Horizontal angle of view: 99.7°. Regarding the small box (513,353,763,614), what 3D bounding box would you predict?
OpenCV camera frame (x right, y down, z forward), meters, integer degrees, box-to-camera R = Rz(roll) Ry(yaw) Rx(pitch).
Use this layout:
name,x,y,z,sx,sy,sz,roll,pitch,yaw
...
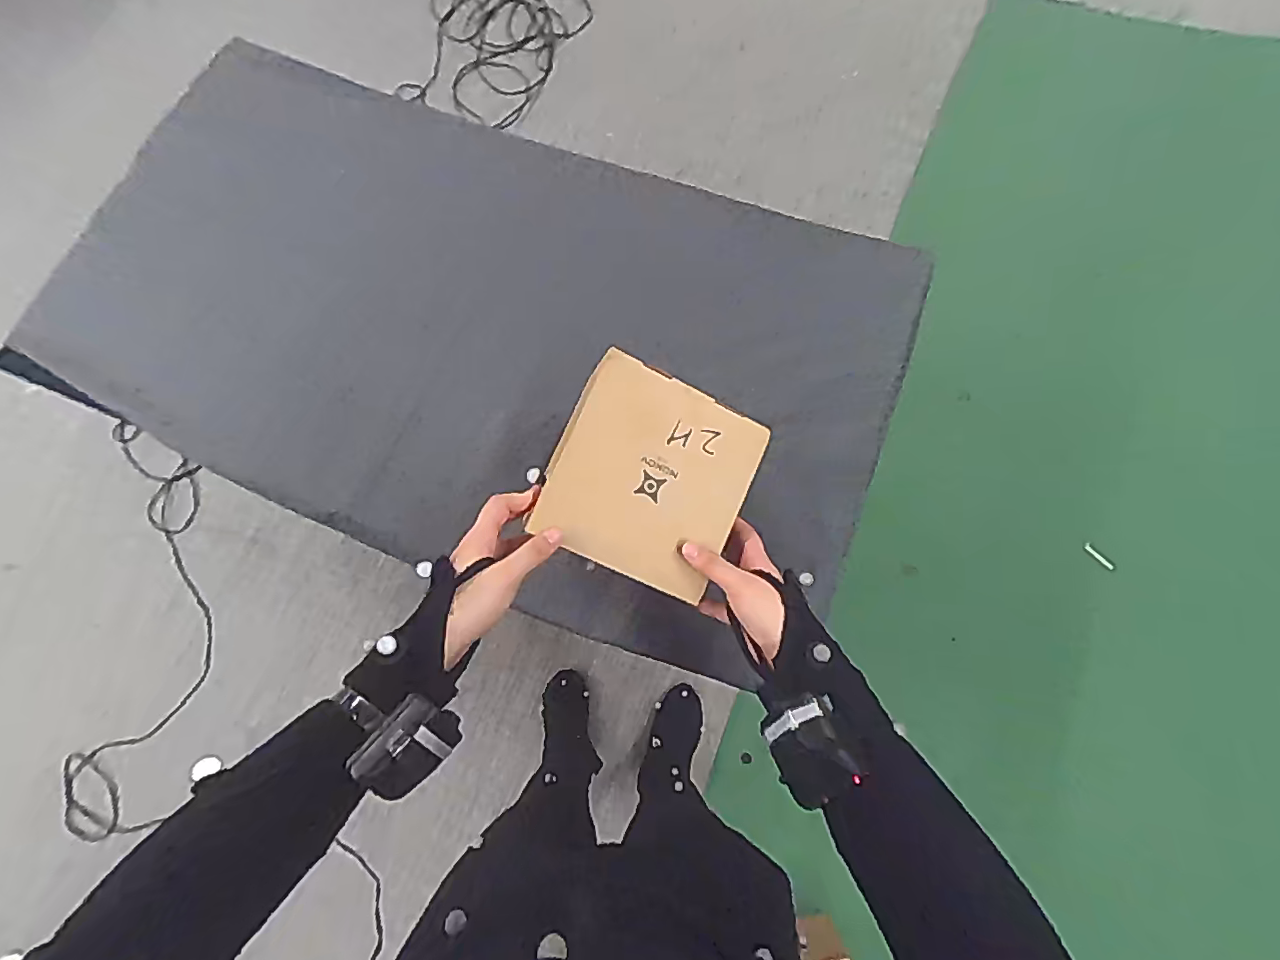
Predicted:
name,x,y,z,sx,sy,sz,roll,pitch,yaw
small box,-0.013,0.005,0.536,0.168,0.176,0.179,26,84,-13

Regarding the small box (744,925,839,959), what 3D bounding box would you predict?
name,x,y,z,sx,sy,sz,roll,pitch,yaw
small box,0.309,0.995,1.035,0.179,0.176,0.168,-10,74,1
